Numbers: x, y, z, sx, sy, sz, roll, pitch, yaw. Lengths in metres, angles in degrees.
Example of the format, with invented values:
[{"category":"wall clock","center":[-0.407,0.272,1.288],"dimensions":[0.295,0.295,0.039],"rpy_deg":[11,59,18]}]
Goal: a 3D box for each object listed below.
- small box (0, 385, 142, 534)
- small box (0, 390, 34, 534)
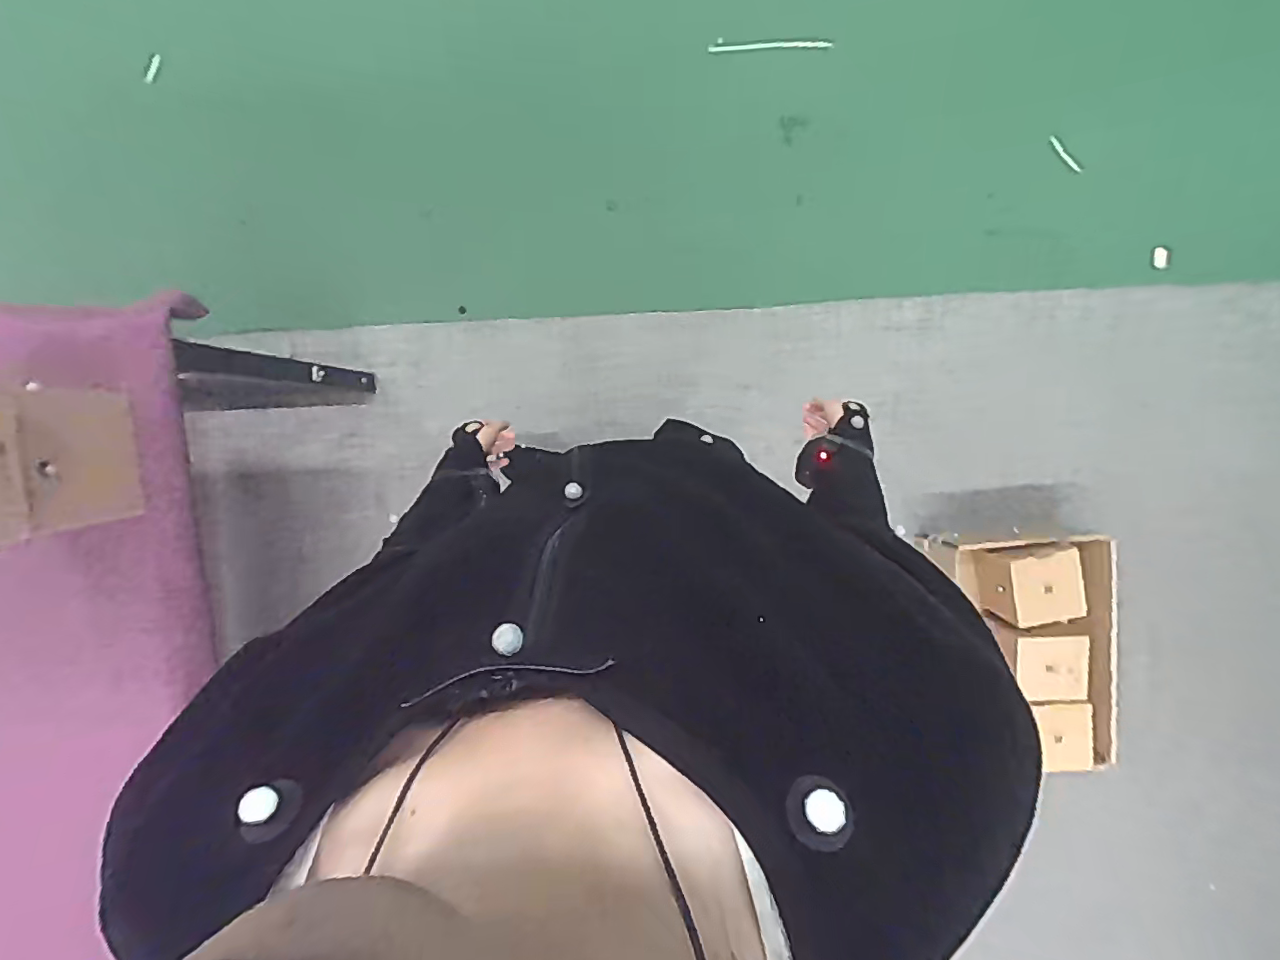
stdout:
[{"category":"small box","center":[-0.804,-0.029,0.702],"dimensions":[0.168,0.176,0.179],"rpy_deg":[-4,96,1]},{"category":"small box","center":[-0.788,-0.010,0.539],"dimensions":[0.179,0.176,0.168],"rpy_deg":[-1,97,1]}]
